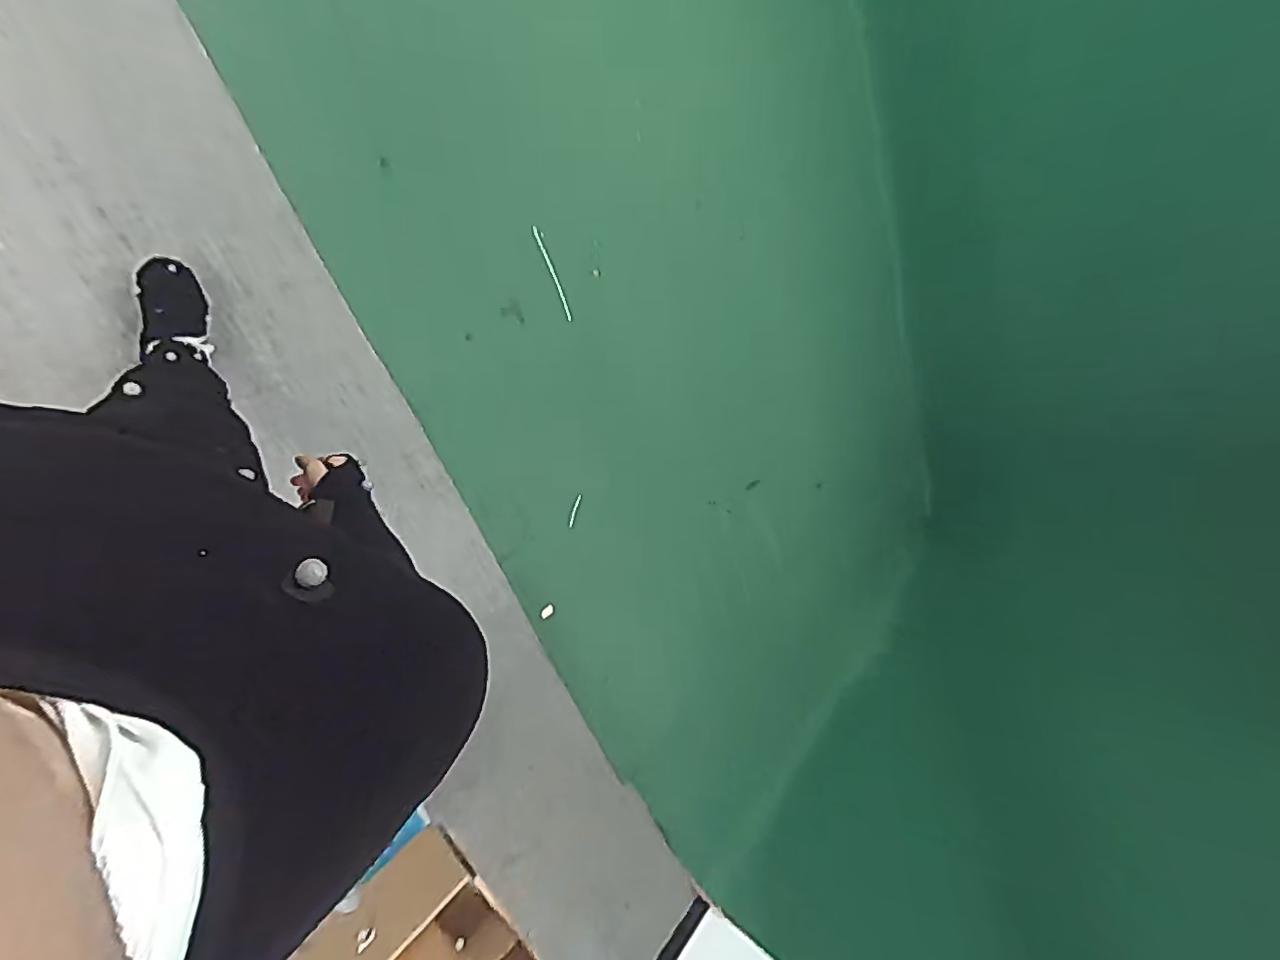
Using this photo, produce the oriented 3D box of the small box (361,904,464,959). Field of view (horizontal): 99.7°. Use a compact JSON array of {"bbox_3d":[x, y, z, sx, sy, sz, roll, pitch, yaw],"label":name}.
[{"bbox_3d":[-0.411,0.937,0.974,0.179,0.176,0.168,-35,119,-31],"label":"small box"}]
